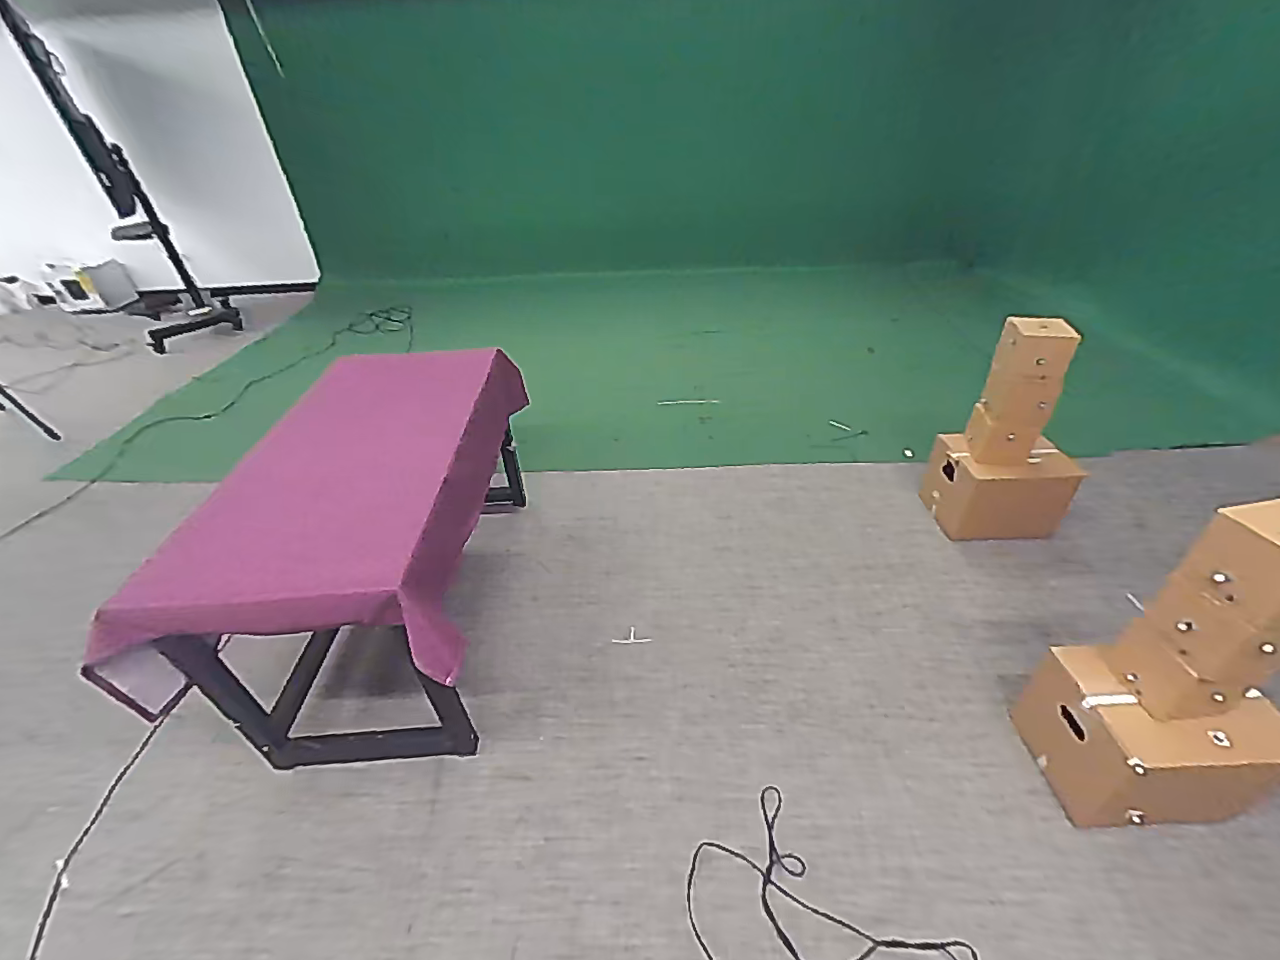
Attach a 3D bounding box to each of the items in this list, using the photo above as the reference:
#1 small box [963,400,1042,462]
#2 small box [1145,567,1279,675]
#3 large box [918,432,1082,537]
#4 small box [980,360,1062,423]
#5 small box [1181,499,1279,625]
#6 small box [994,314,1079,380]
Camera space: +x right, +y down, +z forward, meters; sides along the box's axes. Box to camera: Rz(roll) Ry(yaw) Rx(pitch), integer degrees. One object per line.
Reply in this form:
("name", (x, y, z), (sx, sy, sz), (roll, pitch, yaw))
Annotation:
("small box", (1.355, -0.183, 2.033), (0.179, 0.176, 0.168), (4, 37, 10))
("small box", (1.238, 0.291, 1.147), (0.179, 0.176, 0.168), (-8, 36, -5))
("large box", (1.415, 0.013, 2.173), (0.408, 0.320, 0.320), (-1, 37, 0))
("small box", (1.358, -0.316, 1.939), (0.179, 0.176, 0.168), (6, 37, 13))
("small box", (1.233, 0.157, 1.050), (0.179, 0.176, 0.168), (-8, 36, -6))
("small box", (1.348, -0.453, 1.849), (0.168, 0.176, 0.179), (7, 37, 13))
